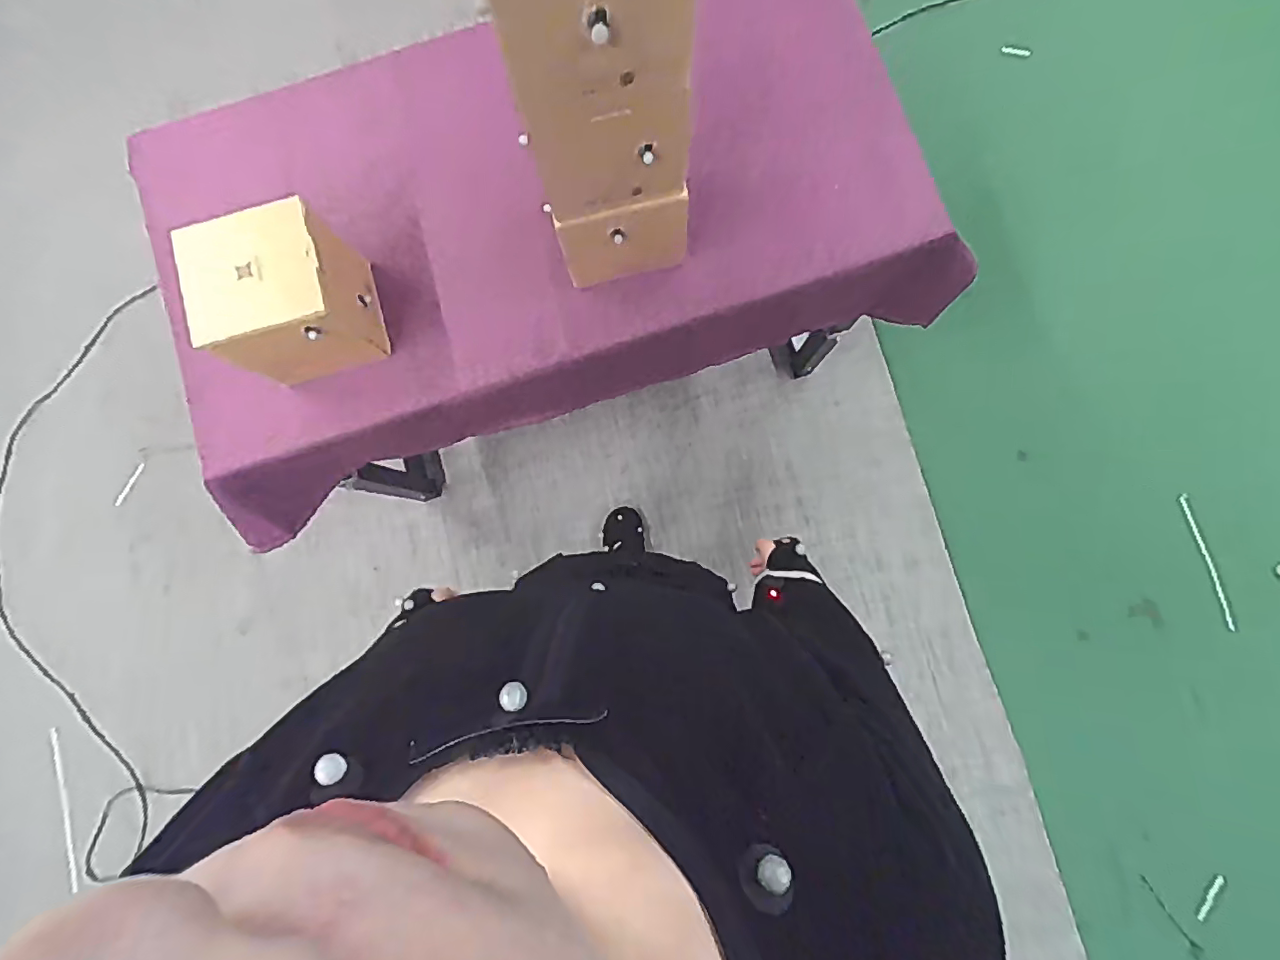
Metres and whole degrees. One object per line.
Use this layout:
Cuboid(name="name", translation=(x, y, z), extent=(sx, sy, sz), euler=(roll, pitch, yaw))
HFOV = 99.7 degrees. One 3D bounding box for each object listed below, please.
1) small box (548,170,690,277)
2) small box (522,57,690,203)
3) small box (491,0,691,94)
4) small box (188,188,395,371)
Cuboid(name="small box", translation=(-0.030, -0.413, 0.770), extent=(0.179, 0.176, 0.168), euler=(-11, 83, 1))
Cuboid(name="small box", translation=(-0.040, -0.442, 0.610), extent=(0.168, 0.176, 0.179), euler=(-12, 82, 1))
Cuboid(name="small box", translation=(-0.051, -0.462, 0.447), extent=(0.168, 0.176, 0.179), euler=(-12, 83, 0))
Cuboid(name="small box", translation=(-0.487, -0.273, 0.777), extent=(0.179, 0.176, 0.168), euler=(-16, 82, 0))
